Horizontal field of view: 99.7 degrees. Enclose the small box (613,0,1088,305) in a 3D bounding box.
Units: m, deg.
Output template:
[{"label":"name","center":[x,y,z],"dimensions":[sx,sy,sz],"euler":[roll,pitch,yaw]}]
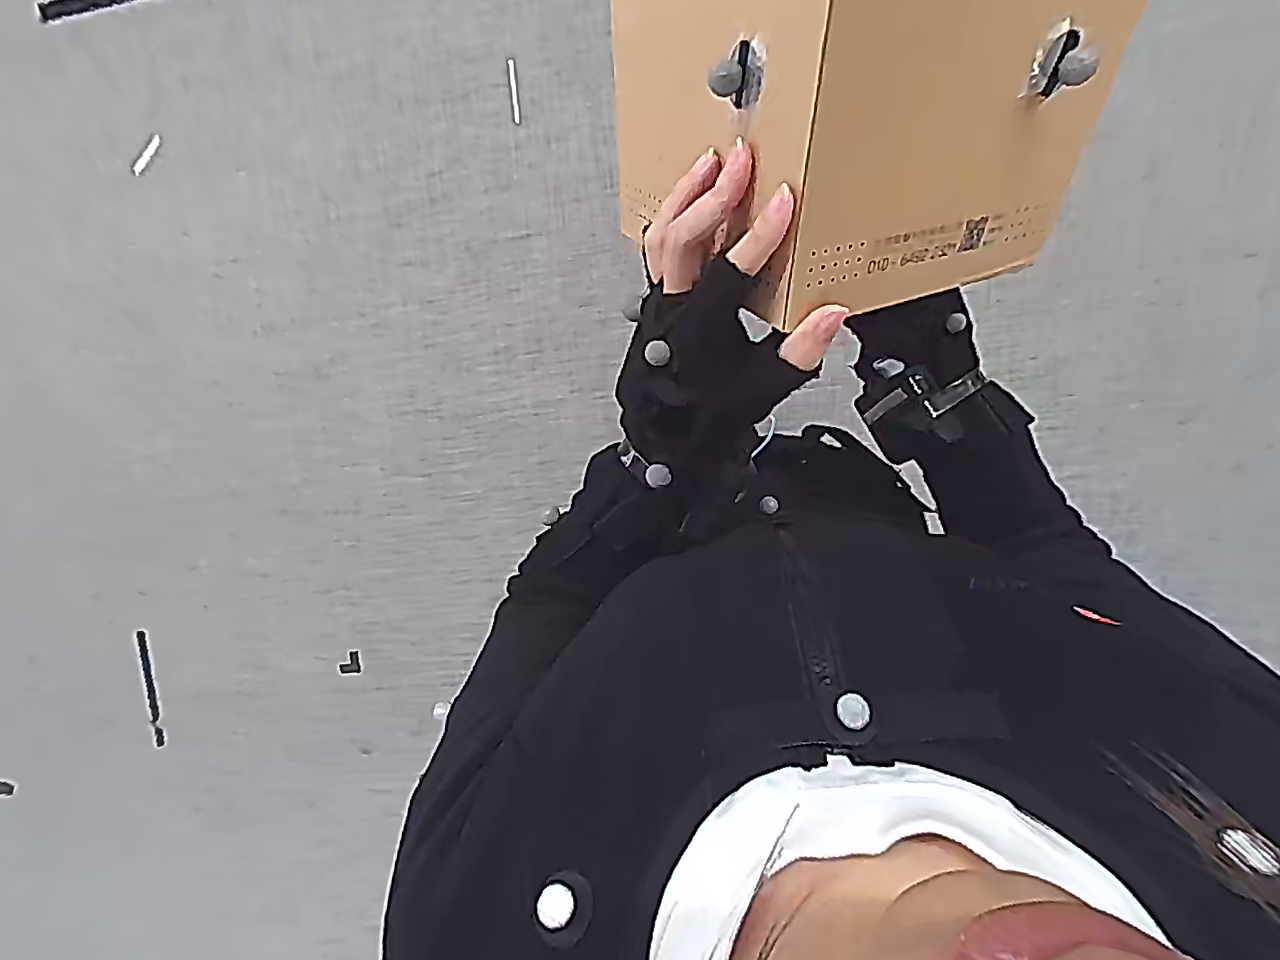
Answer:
[{"label":"small box","center":[0.096,-0.206,0.290],"dimensions":[0.168,0.179,0.176],"euler":[-18,132,-19]}]
